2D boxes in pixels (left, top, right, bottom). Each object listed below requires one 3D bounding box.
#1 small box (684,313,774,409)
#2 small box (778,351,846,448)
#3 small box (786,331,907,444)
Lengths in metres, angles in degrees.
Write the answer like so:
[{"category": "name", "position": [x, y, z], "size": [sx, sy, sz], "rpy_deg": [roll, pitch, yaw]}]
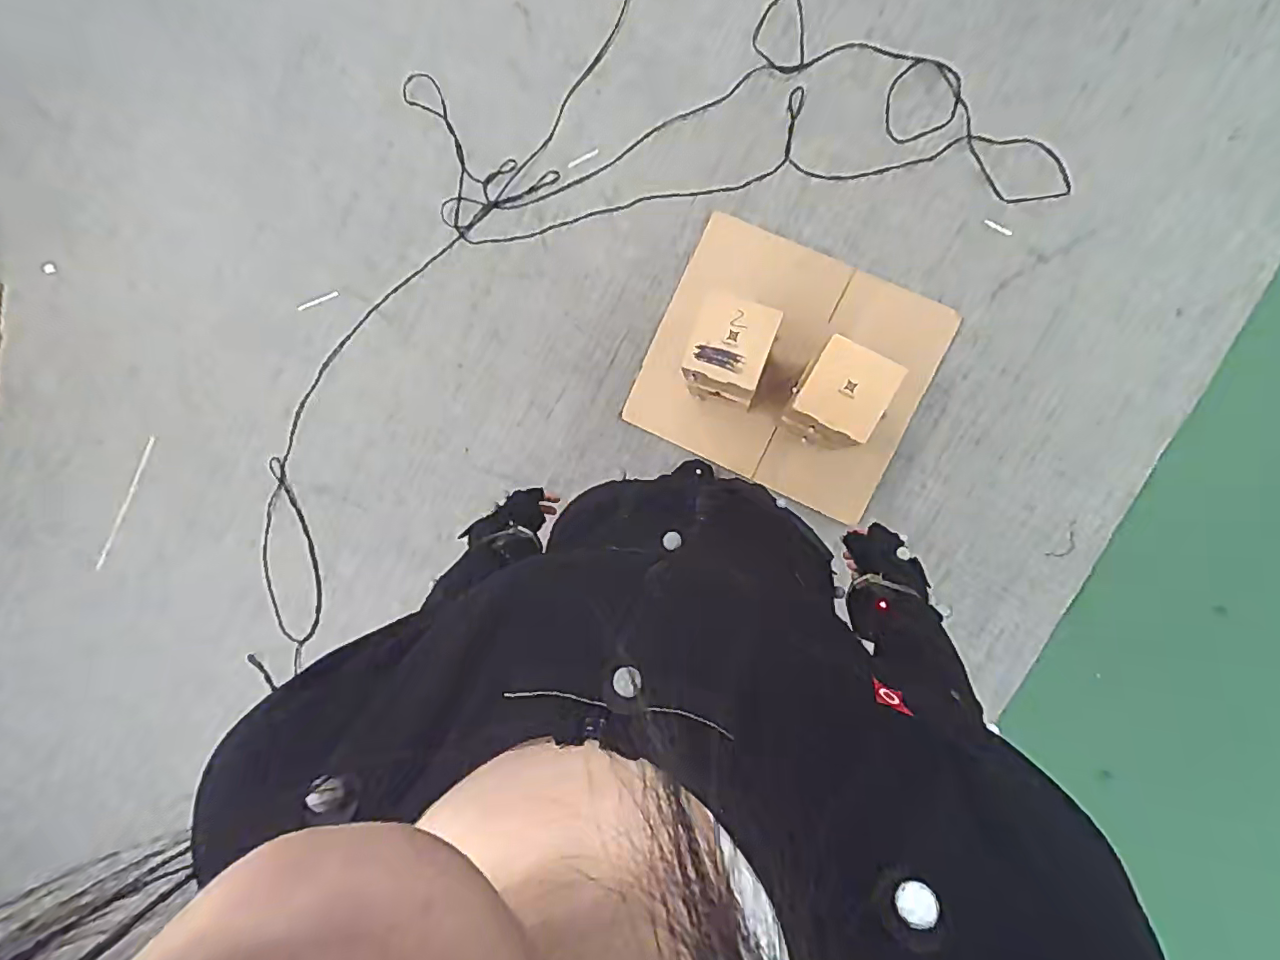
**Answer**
[{"category": "small box", "position": [0.222, -0.289, 1.356], "size": [0.168, 0.176, 0.179], "rpy_deg": [22, 94, 7]}, {"category": "small box", "position": [0.451, -0.190, 1.330], "size": [0.168, 0.176, 0.179], "rpy_deg": [26, 96, 8]}, {"category": "small box", "position": [0.432, -0.191, 1.168], "size": [0.168, 0.176, 0.179], "rpy_deg": [29, 96, 7]}]
